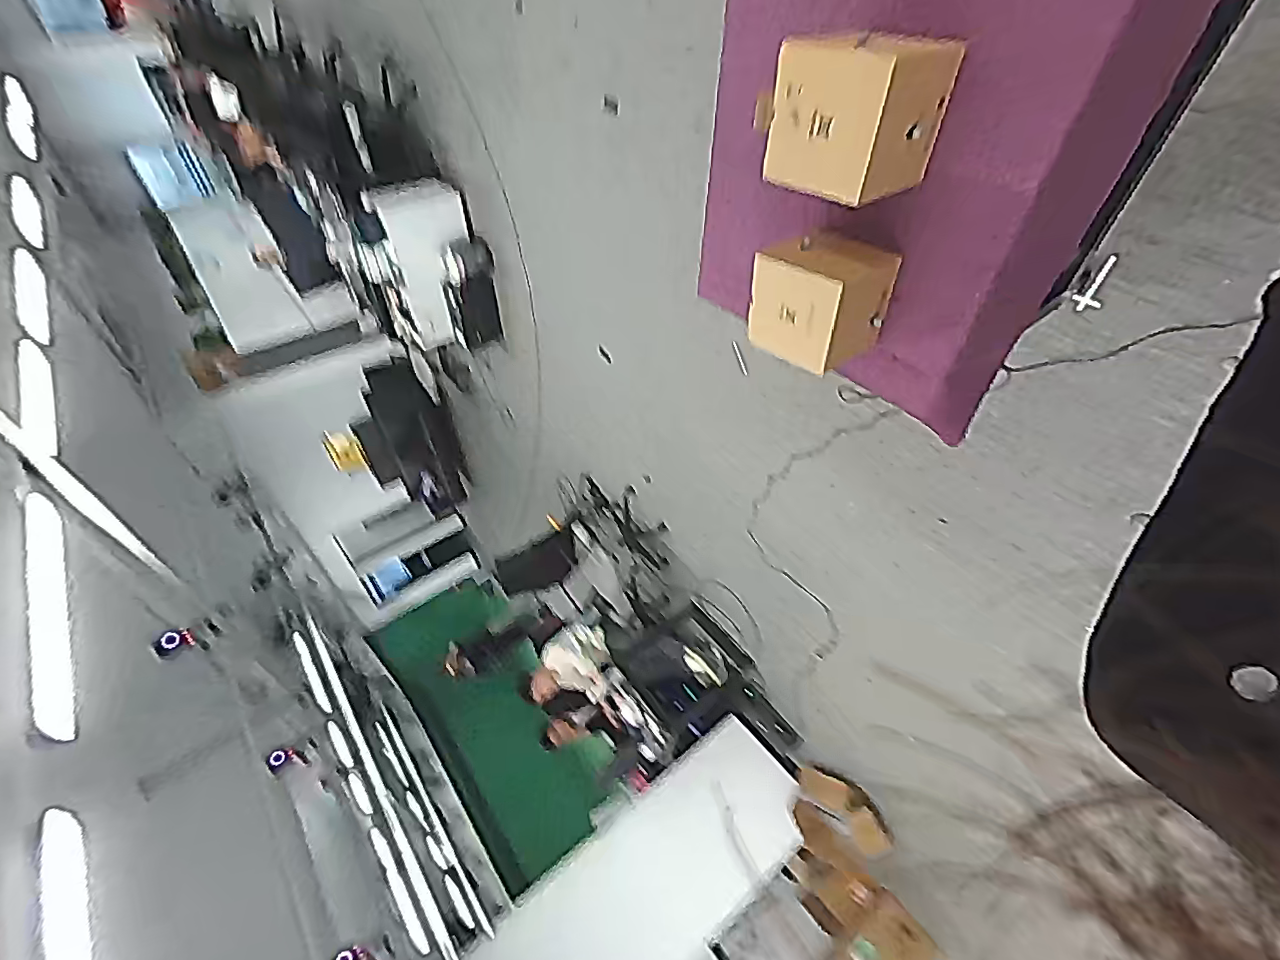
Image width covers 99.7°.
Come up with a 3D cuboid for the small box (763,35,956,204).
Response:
[{"bbox_3d":[0.307,-0.521,0.773,0.179,0.176,0.168,41,147,34],"label":"small box"}]

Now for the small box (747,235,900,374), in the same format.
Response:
[{"bbox_3d":[0.318,-0.319,0.959,0.179,0.176,0.168,40,147,35],"label":"small box"}]
